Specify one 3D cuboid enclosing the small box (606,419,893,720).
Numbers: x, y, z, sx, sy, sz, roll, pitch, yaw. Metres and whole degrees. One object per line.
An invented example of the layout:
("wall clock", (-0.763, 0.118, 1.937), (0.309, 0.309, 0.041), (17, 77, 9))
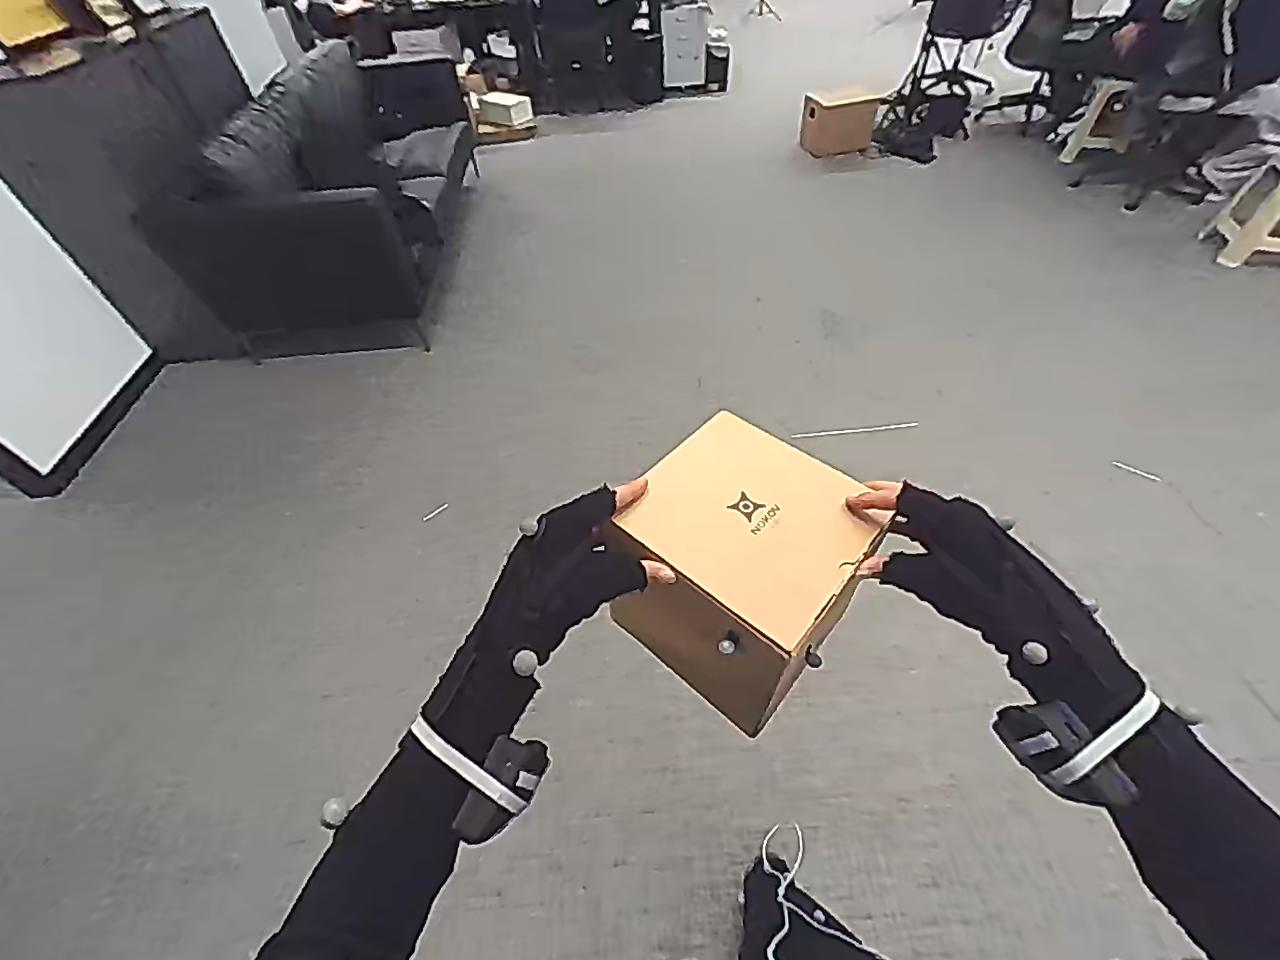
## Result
("small box", (0.086, 0.082, 0.493), (0.179, 0.176, 0.168), (35, 57, 26))
